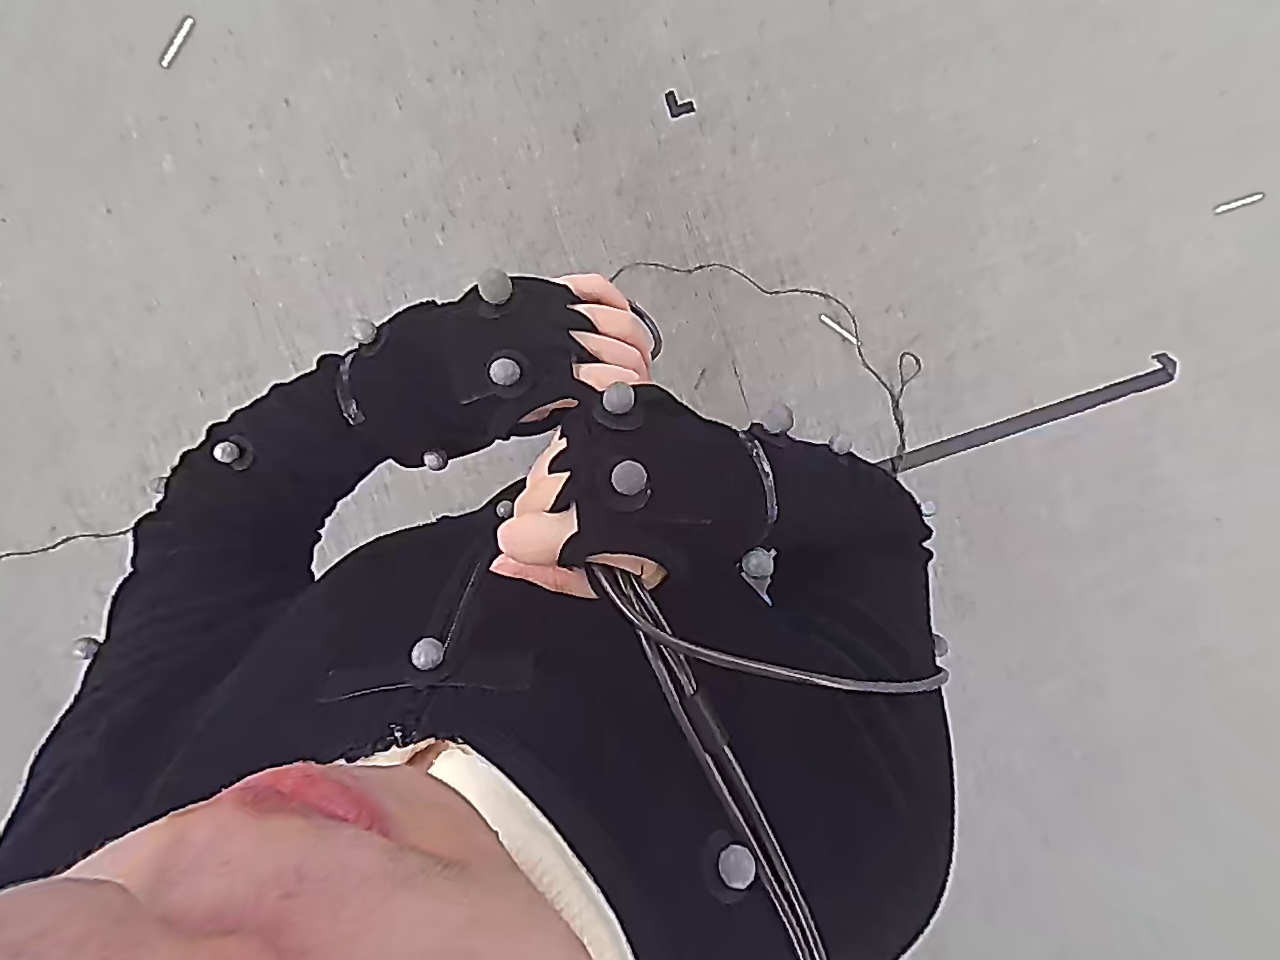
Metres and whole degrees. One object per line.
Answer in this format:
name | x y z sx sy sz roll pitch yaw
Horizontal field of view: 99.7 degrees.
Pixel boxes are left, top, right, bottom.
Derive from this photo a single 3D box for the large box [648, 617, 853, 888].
large box | 0.225 0.577 1.218 0.320 0.320 0.408 -13 95 -3
